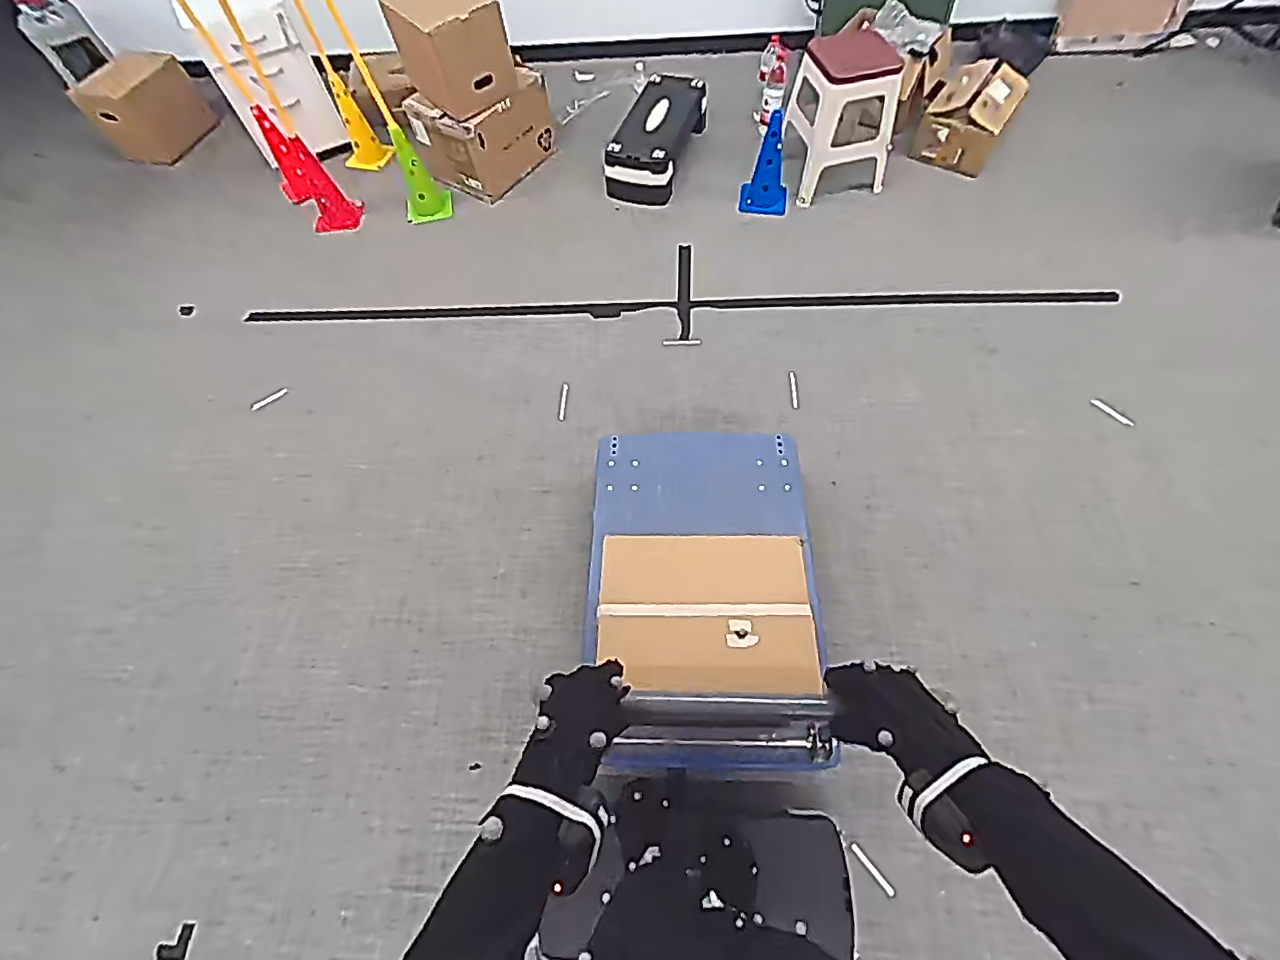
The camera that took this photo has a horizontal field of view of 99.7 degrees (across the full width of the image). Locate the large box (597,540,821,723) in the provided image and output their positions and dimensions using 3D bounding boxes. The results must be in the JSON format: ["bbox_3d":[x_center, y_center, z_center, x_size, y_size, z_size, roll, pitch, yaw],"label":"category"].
[{"bbox_3d":[0.124,0.332,1.154,0.408,0.320,0.320,0,61,2],"label":"large box"}]
